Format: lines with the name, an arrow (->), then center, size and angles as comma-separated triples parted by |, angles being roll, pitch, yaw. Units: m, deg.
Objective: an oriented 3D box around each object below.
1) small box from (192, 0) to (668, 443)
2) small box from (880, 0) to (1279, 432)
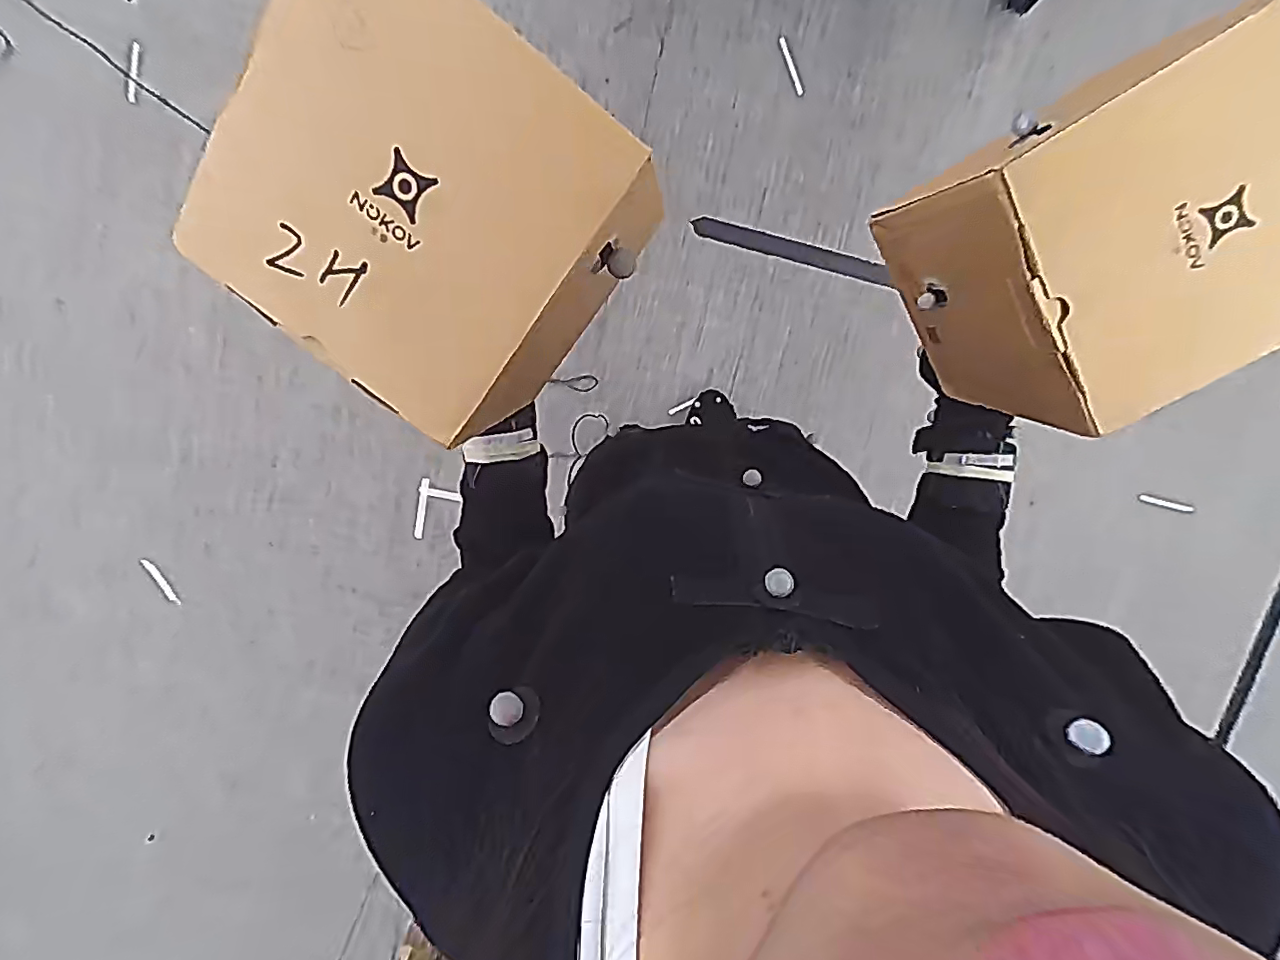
small box -> -0.098, -0.155, 0.326 | 0.168, 0.176, 0.179 | 38, 108, -7
small box -> 0.298, -0.160, 0.358 | 0.179, 0.176, 0.168 | -30, 105, 10
